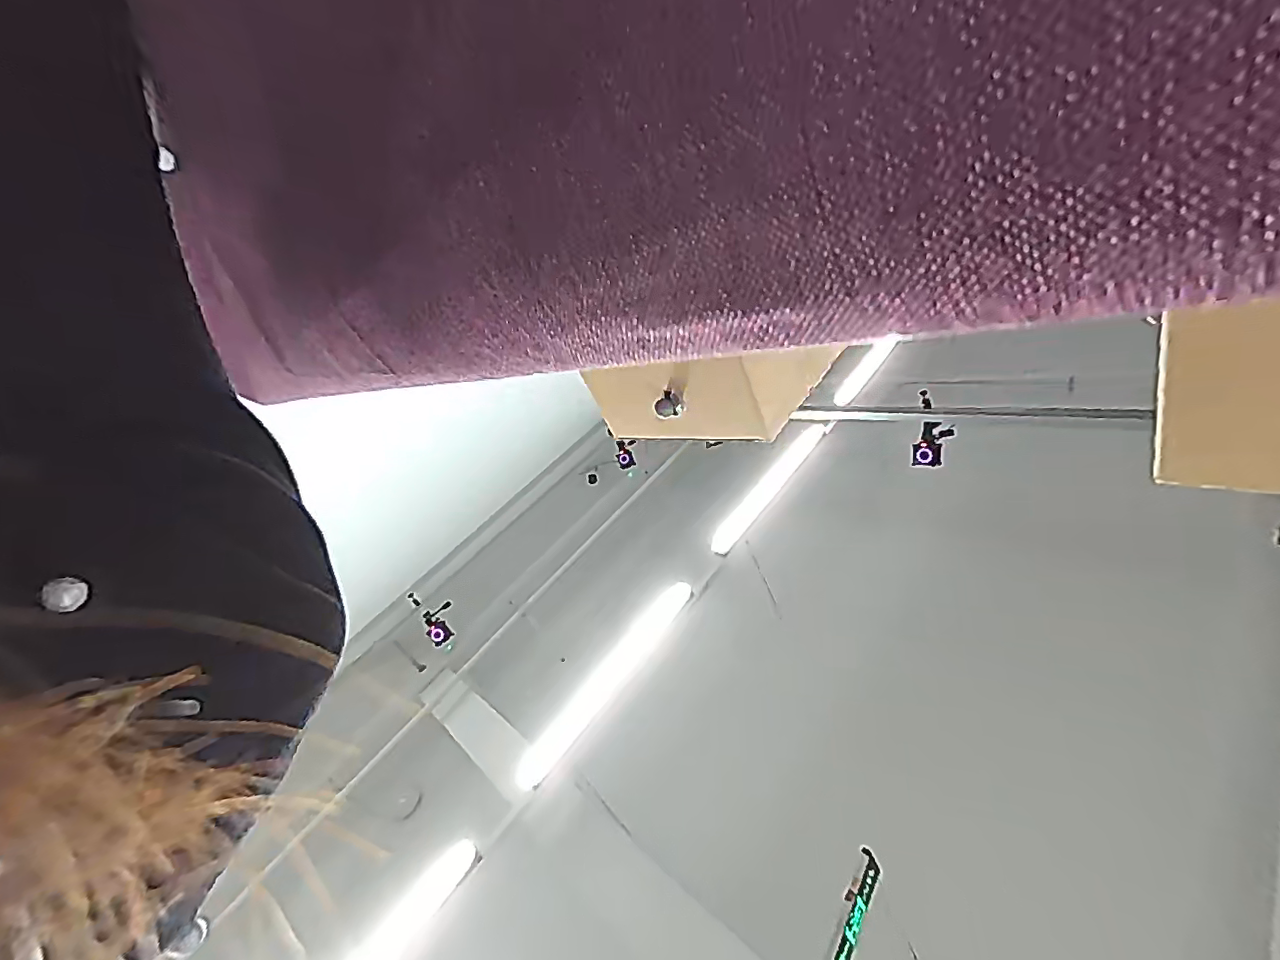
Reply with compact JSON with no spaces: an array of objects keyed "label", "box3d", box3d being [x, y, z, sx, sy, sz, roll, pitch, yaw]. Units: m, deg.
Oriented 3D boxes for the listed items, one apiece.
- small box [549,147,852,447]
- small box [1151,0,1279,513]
[{"label":"small box","box3d":[0.049,-0.146,0.455,0.179,0.176,0.168,6,-136,46]},{"label":"small box","box3d":[0.296,-0.098,0.178,0.168,0.176,0.179,12,-131,48]}]
